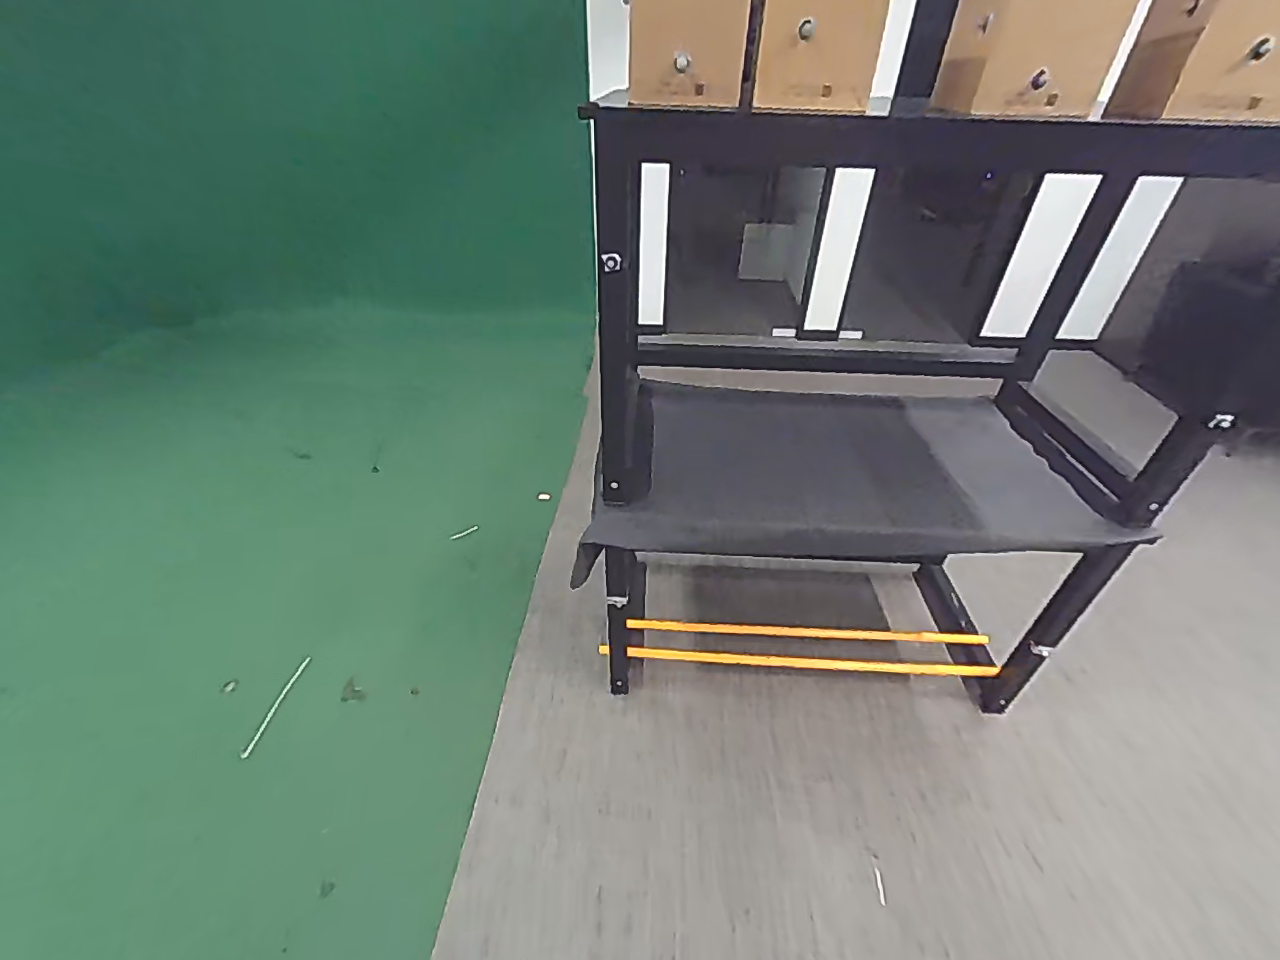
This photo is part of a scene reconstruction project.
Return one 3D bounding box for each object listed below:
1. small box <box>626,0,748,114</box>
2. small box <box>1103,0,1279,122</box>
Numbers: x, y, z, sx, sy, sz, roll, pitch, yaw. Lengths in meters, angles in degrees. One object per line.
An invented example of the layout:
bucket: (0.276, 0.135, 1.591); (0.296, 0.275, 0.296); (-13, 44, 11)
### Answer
small box: (0.065, -0.667, 0.821); (0.168, 0.176, 0.179); (2, 38, 0)
small box: (0.826, -0.618, 0.772); (0.168, 0.176, 0.179); (8, 37, 9)
